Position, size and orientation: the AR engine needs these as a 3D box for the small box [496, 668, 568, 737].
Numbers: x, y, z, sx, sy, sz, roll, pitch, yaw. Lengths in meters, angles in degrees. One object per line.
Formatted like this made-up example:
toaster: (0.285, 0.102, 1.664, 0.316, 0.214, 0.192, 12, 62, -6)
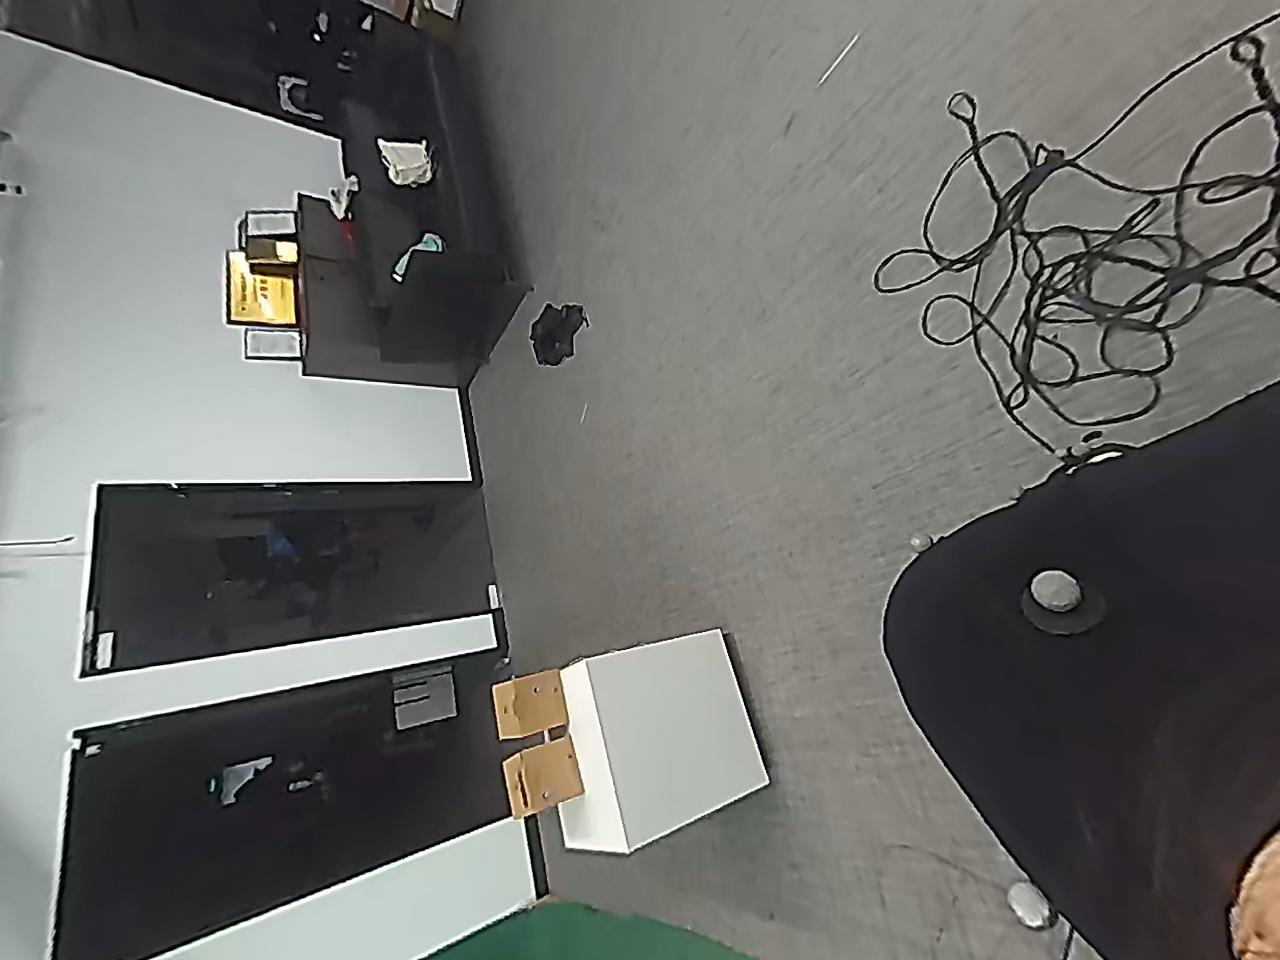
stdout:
small box: (-0.339, 0.705, 1.718, 0.179, 0.176, 0.168, -37, 61, 49)
